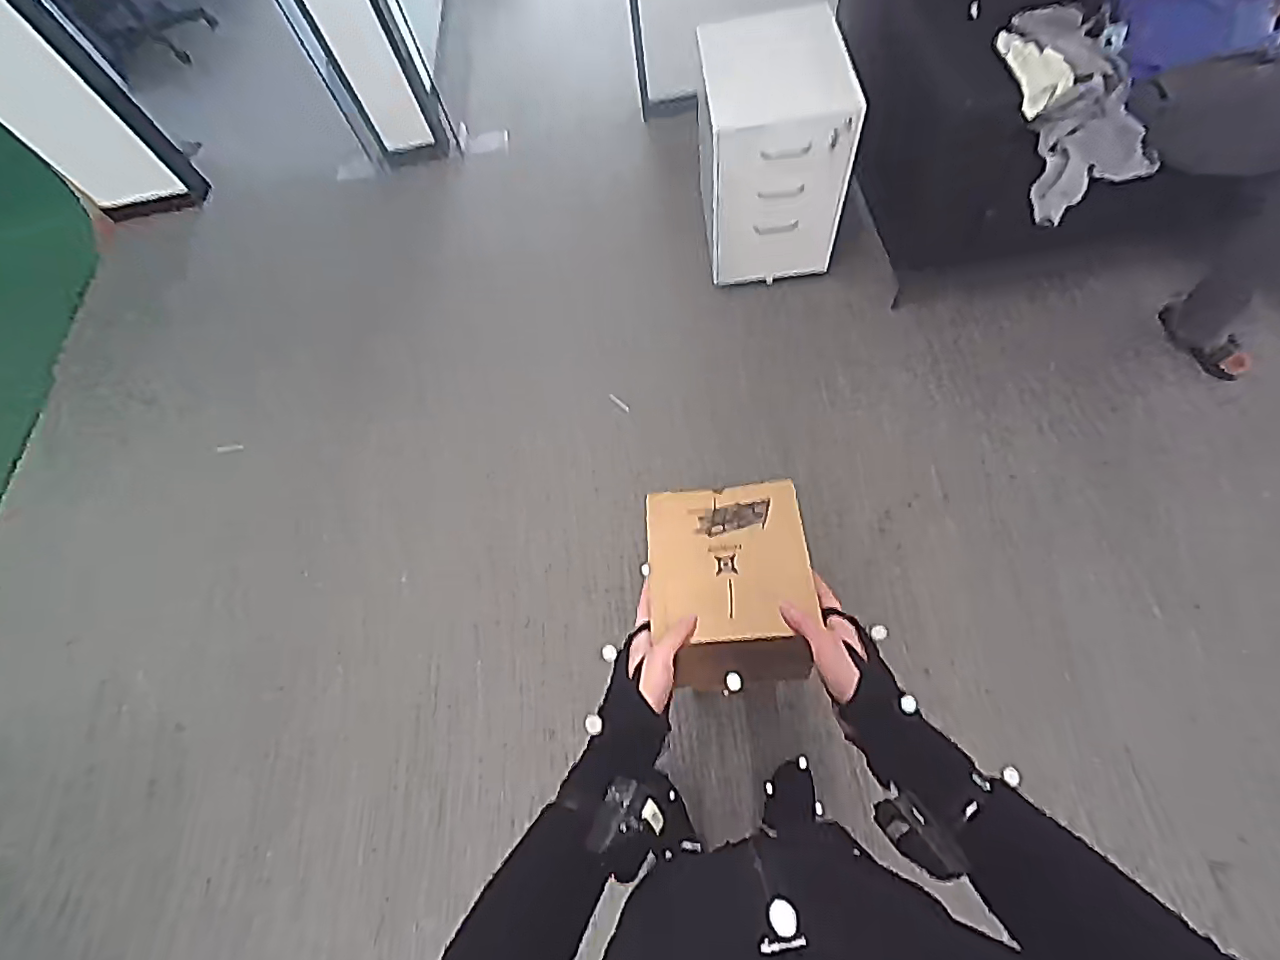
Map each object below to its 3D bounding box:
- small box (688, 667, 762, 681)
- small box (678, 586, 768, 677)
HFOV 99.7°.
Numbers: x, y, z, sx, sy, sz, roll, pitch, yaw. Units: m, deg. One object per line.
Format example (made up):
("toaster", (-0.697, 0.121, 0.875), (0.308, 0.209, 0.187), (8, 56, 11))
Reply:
("small box", (0.204, 0.416, 1.377), (0.179, 0.176, 0.168), (-6, 64, 4))
("small box", (0.185, 0.350, 1.229), (0.179, 0.176, 0.168), (-7, 65, 3))
